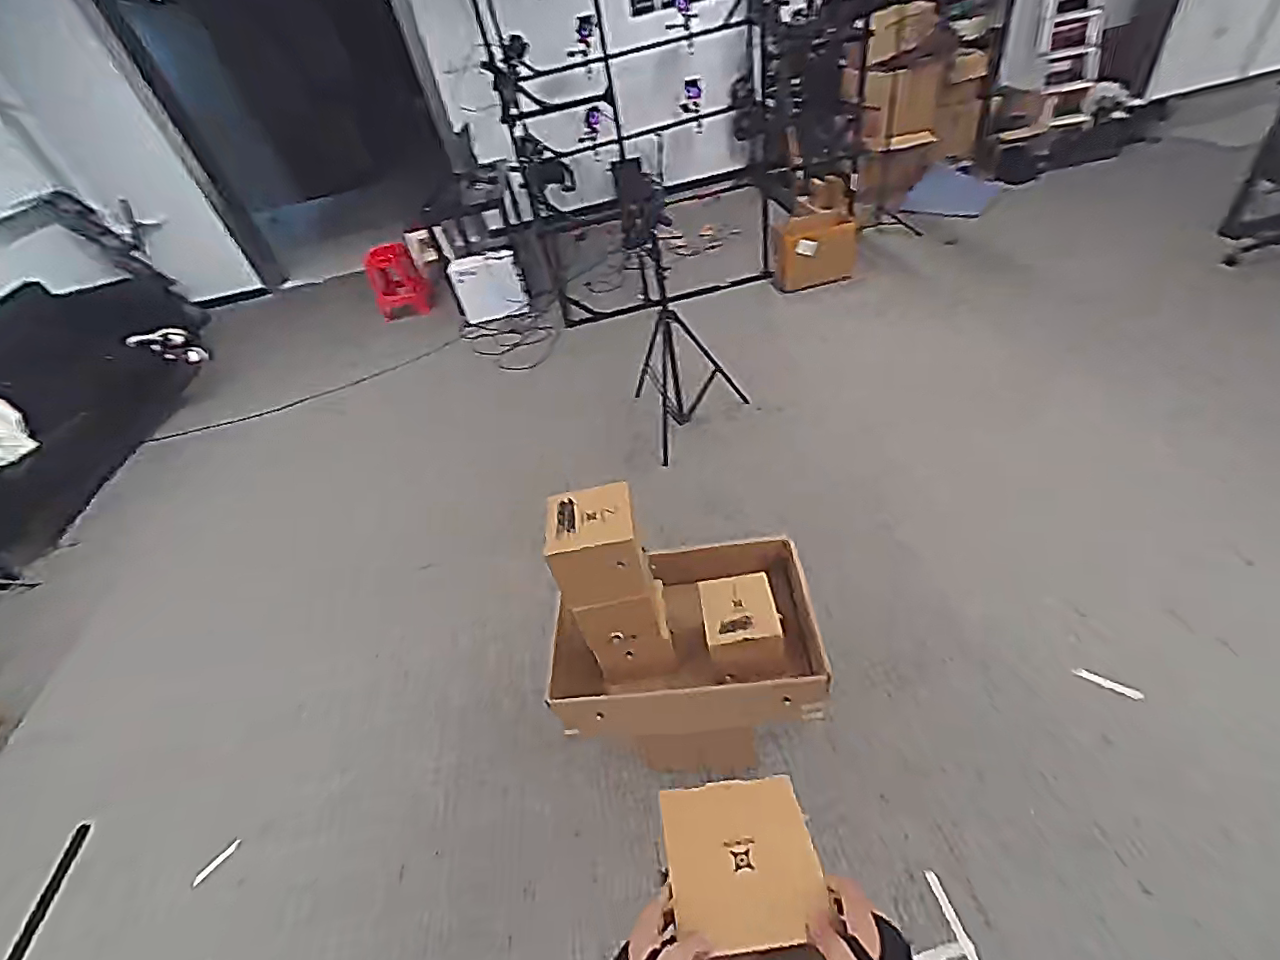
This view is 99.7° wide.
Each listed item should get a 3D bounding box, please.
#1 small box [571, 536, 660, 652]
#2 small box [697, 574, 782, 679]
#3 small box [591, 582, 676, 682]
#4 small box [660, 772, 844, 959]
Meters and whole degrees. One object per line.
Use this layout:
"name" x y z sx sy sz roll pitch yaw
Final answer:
"small box" -0.054 0.257 1.217 0.168 0.176 0.179 -12 41 3
"small box" 0.236 0.353 1.281 0.168 0.176 0.179 -10 41 5
"small box" -0.015 0.375 1.324 0.179 0.176 0.168 -10 42 4
"small box" 0.118 0.483 0.630 0.168 0.176 0.179 -5 26 -3
